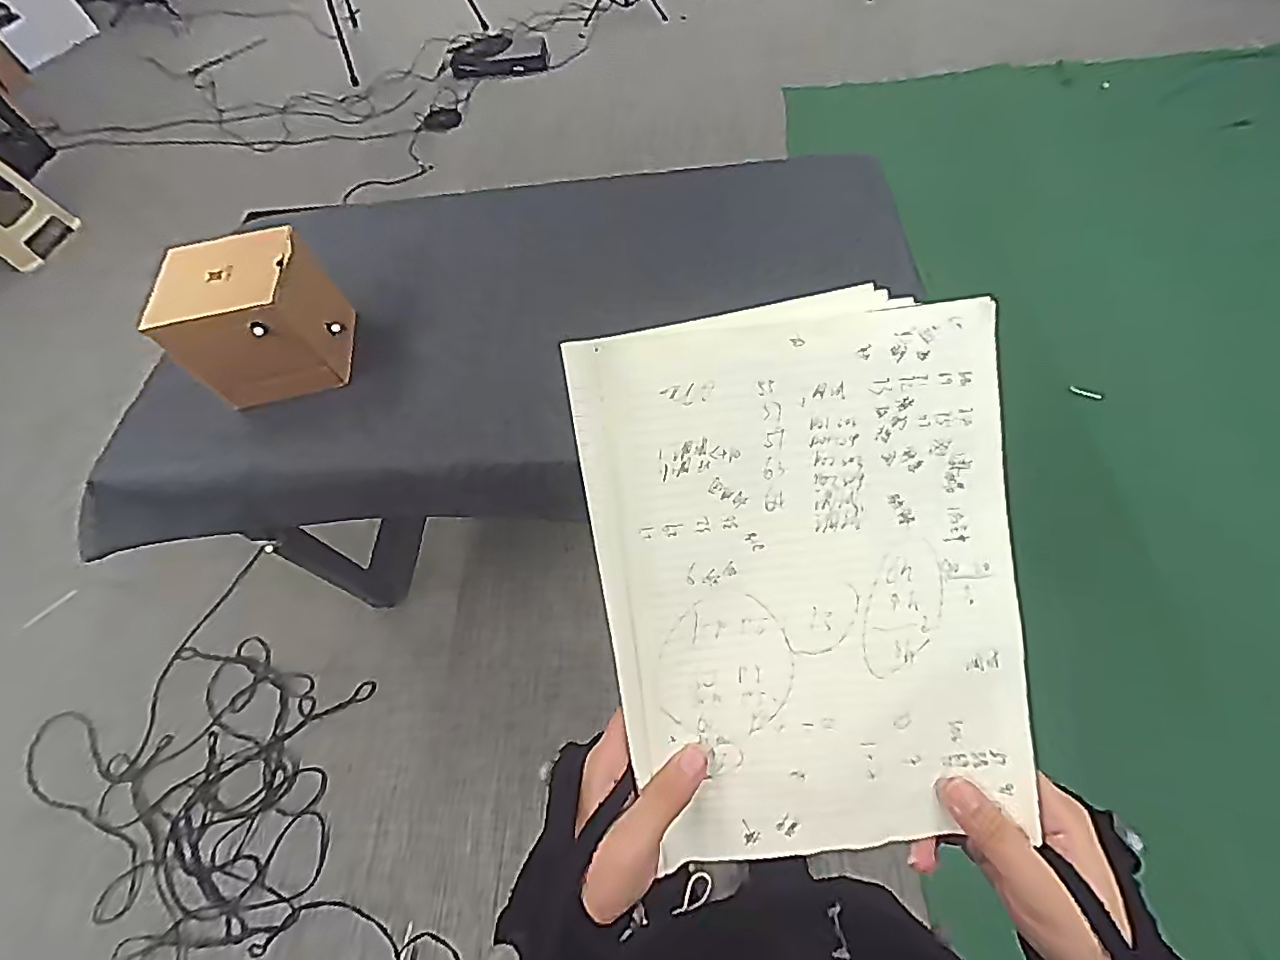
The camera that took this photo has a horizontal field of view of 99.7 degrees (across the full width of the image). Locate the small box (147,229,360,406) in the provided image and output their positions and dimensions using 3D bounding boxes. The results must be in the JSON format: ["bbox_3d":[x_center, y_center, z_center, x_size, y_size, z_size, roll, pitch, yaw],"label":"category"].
[{"bbox_3d":[-0.546,-0.230,0.793,0.179,0.176,0.168,-12,59,-1],"label":"small box"}]
